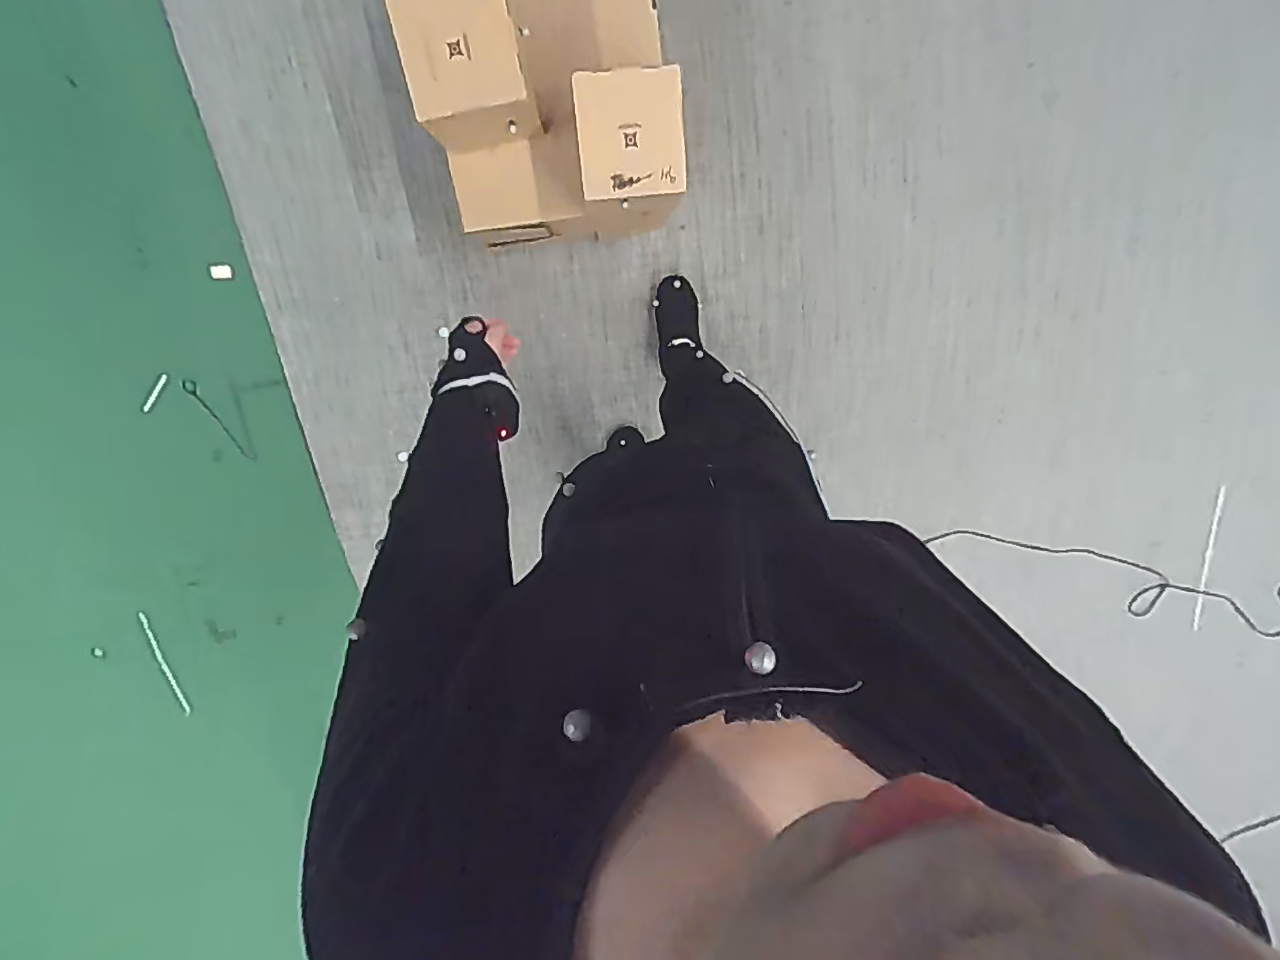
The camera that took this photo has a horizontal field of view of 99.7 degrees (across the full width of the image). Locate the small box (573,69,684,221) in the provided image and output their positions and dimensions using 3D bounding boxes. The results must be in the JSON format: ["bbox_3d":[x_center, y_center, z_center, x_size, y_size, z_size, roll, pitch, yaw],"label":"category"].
[{"bbox_3d":[-0.020,-0.550,0.909,0.168,0.176,0.179,-4,106,-1],"label":"small box"}]

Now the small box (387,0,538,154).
[{"bbox_3d":[-0.270,-0.655,0.875,0.179,0.176,0.168,-10,105,3],"label":"small box"}]
